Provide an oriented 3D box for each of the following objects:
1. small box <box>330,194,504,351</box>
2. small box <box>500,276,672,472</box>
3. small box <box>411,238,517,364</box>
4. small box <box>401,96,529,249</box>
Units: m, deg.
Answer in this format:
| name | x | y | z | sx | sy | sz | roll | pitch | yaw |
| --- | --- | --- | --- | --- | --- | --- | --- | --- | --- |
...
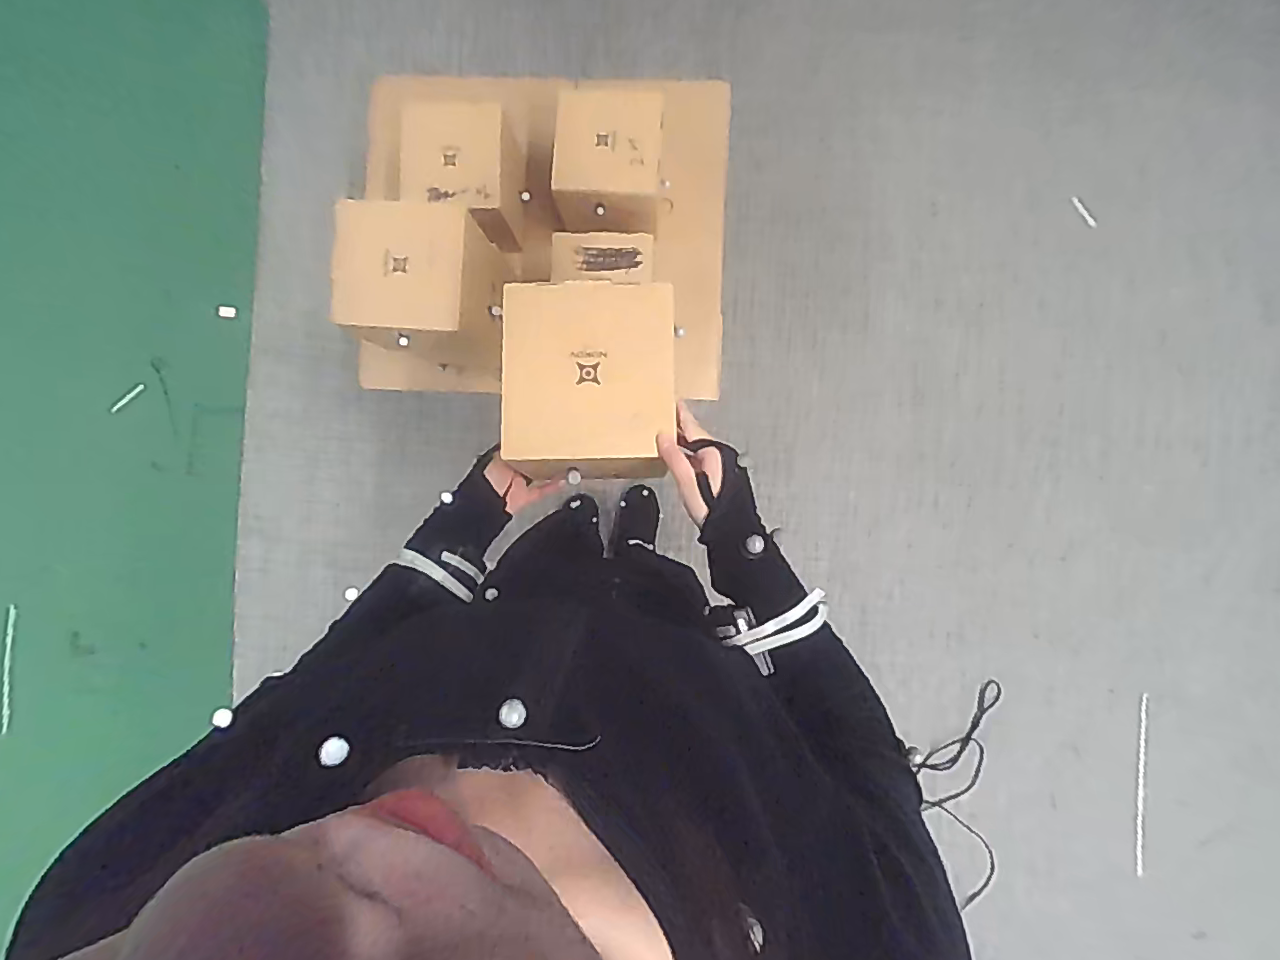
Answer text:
| name | x | y | z | sx | sy | sz | roll | pitch | yaw |
| --- | --- | --- | --- | --- | --- | --- | --- | --- | --- |
| small box | -0.314 | -0.290 | 0.788 | 0.179 | 0.176 | 0.168 | 5 | 92 | 2 |
| small box | -0.051 | -0.102 | 0.593 | 0.168 | 0.176 | 0.179 | -1 | 83 | -1 |
| small box | -0.312 | -0.308 | 0.951 | 0.168 | 0.176 | 0.179 | 4 | 90 | 2 |
| small box | -0.298 | -0.530 | 0.949 | 0.168 | 0.176 | 0.179 | 1 | 89 | 3 |
